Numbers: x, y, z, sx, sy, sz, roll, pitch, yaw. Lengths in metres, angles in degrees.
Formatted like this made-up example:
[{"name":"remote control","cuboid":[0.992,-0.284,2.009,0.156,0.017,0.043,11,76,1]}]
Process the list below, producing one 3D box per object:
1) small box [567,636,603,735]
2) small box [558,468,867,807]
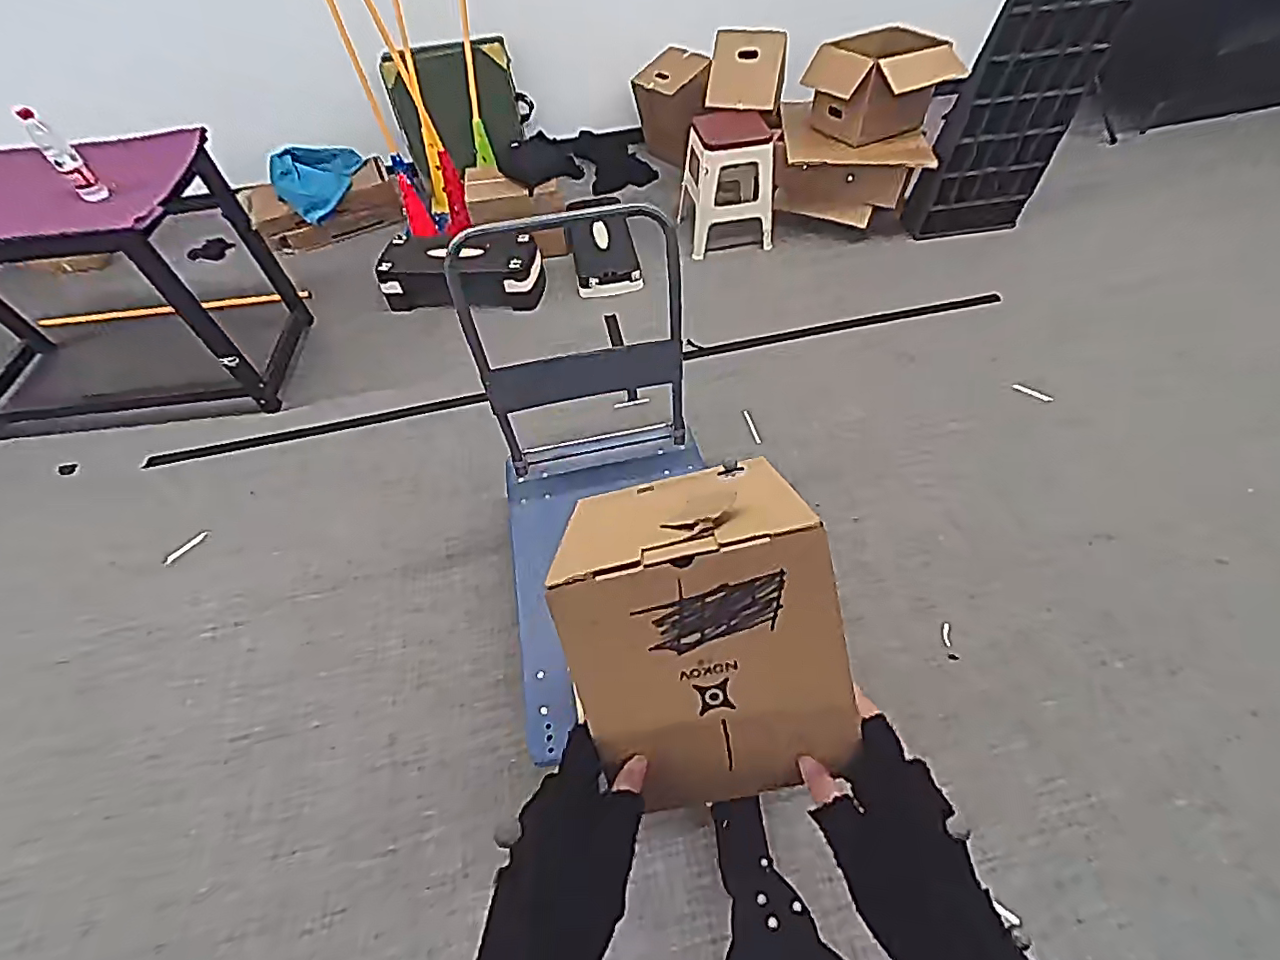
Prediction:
[{"name":"small box","cuboid":[-0.051,0.426,1.151,0.168,0.176,0.179,-13,53,-6]},{"name":"small box","cuboid":[0.049,0.099,0.412,0.168,0.179,0.176,-14,15,5]}]
